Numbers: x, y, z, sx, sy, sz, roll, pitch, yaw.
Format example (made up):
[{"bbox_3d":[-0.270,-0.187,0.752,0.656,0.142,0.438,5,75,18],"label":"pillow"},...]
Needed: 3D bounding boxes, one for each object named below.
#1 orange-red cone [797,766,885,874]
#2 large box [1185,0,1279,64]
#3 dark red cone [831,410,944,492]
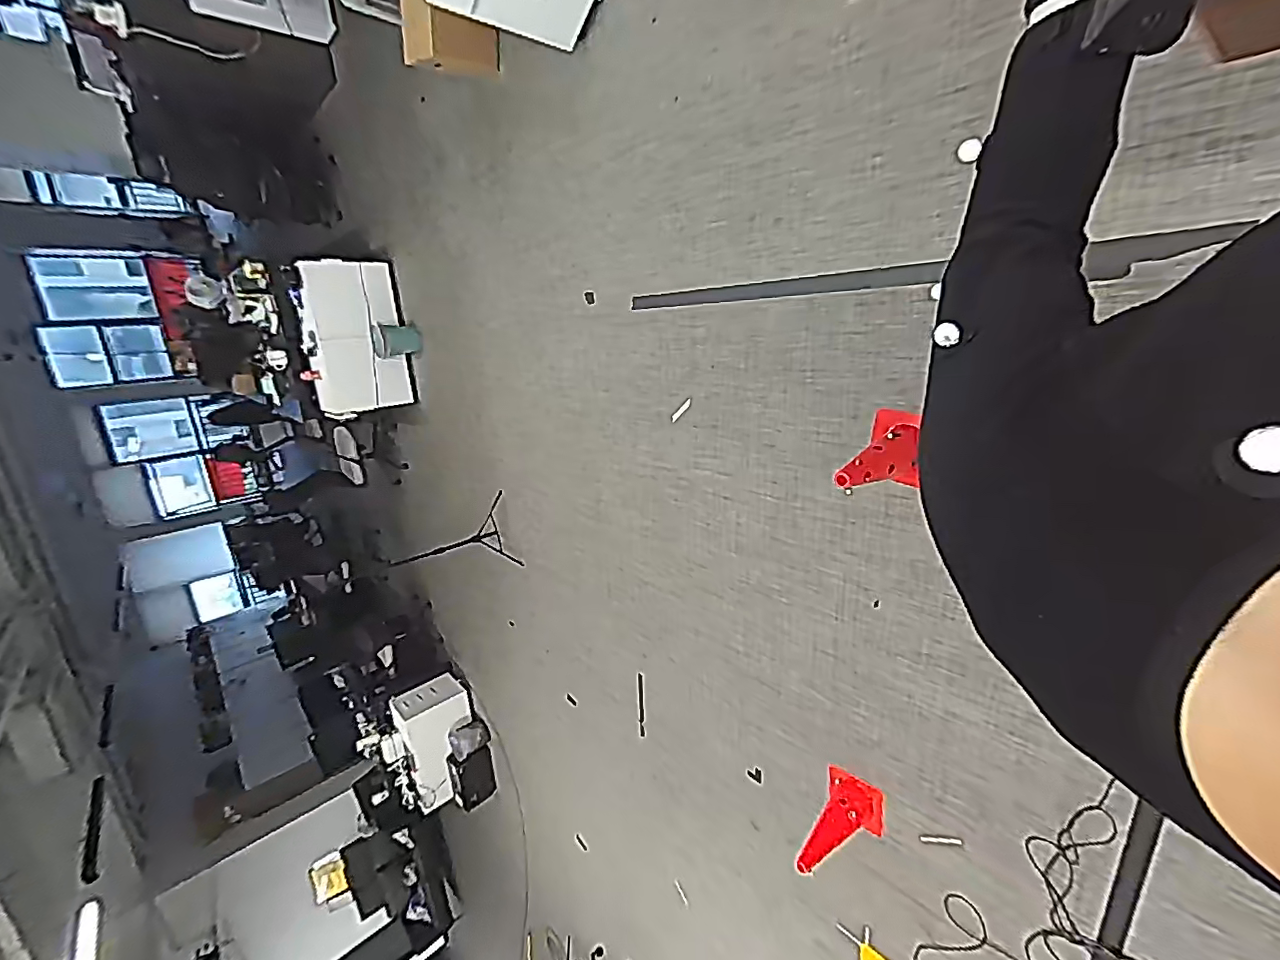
[{"bbox_3d":[0.642,1.179,1.807,0.198,0.360,0.199,12,114,48],"label":"orange-red cone"},{"bbox_3d":[0.540,-0.455,0.227,0.408,0.320,0.320,14,118,46],"label":"large box"},{"bbox_3d":[0.592,-0.043,1.364,0.201,0.394,0.202,21,119,42],"label":"dark red cone"}]
